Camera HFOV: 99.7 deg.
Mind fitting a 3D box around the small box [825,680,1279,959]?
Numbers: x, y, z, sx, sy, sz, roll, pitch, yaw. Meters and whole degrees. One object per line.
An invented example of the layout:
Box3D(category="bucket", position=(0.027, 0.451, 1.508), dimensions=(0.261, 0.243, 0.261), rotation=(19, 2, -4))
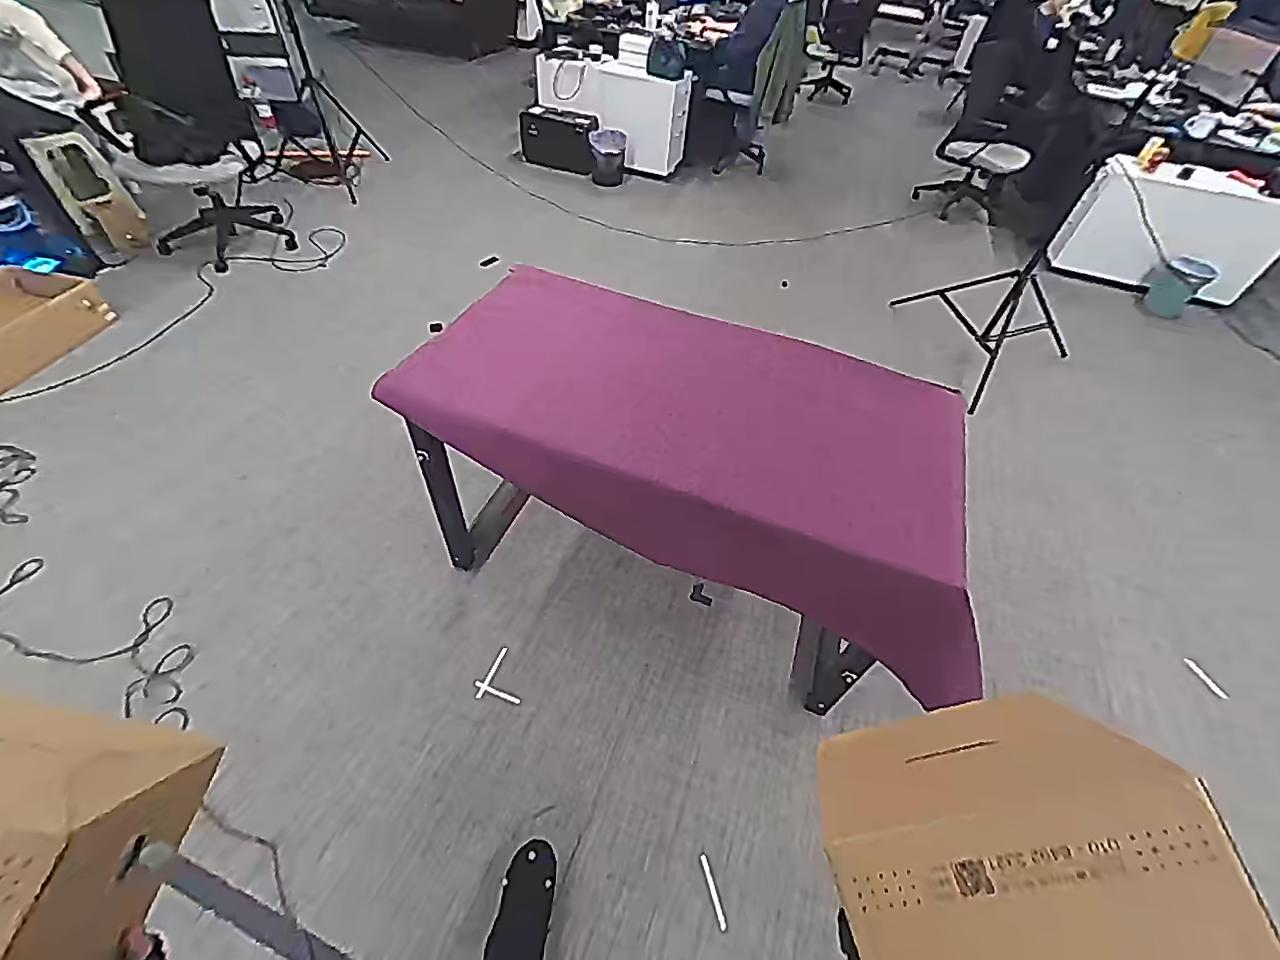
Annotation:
Box3D(category="small box", position=(0.215, 0.229, 0.308), dimensions=(0.168, 0.179, 0.176), rotation=(-19, 76, 13))

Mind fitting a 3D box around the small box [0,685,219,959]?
Box3D(category="small box", position=(-0.357, 0.201, 0.258), dimensions=(0.168, 0.179, 0.176), rotation=(22, 70, -13))
